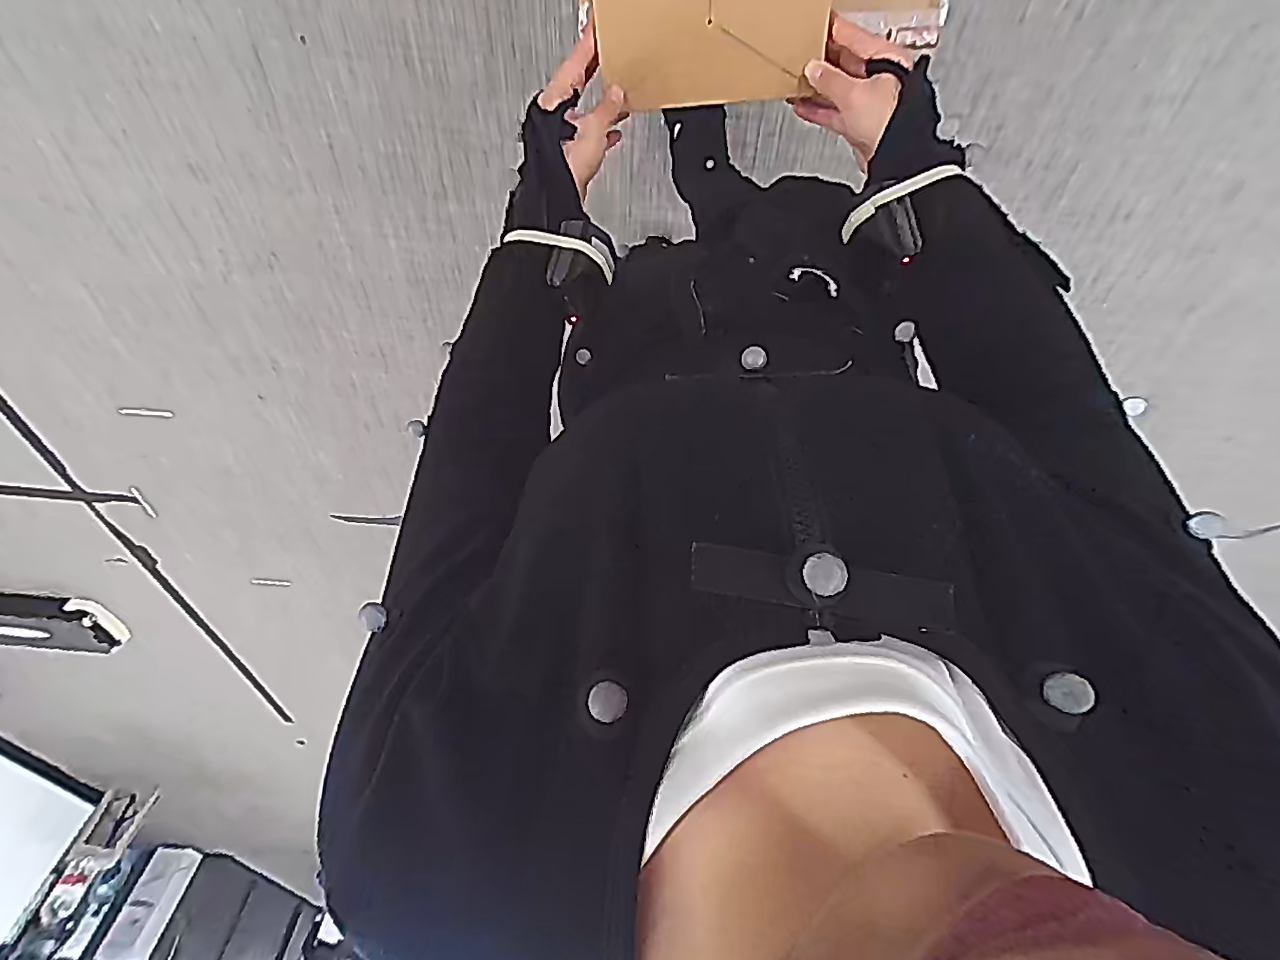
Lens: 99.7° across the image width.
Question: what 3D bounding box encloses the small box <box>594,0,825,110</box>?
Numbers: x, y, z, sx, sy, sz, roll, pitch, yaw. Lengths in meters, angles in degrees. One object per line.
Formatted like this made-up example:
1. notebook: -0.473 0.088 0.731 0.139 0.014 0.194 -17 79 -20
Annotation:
1. small box: 0.051 -0.422 0.450 0.179 0.176 0.168 -1 132 5
